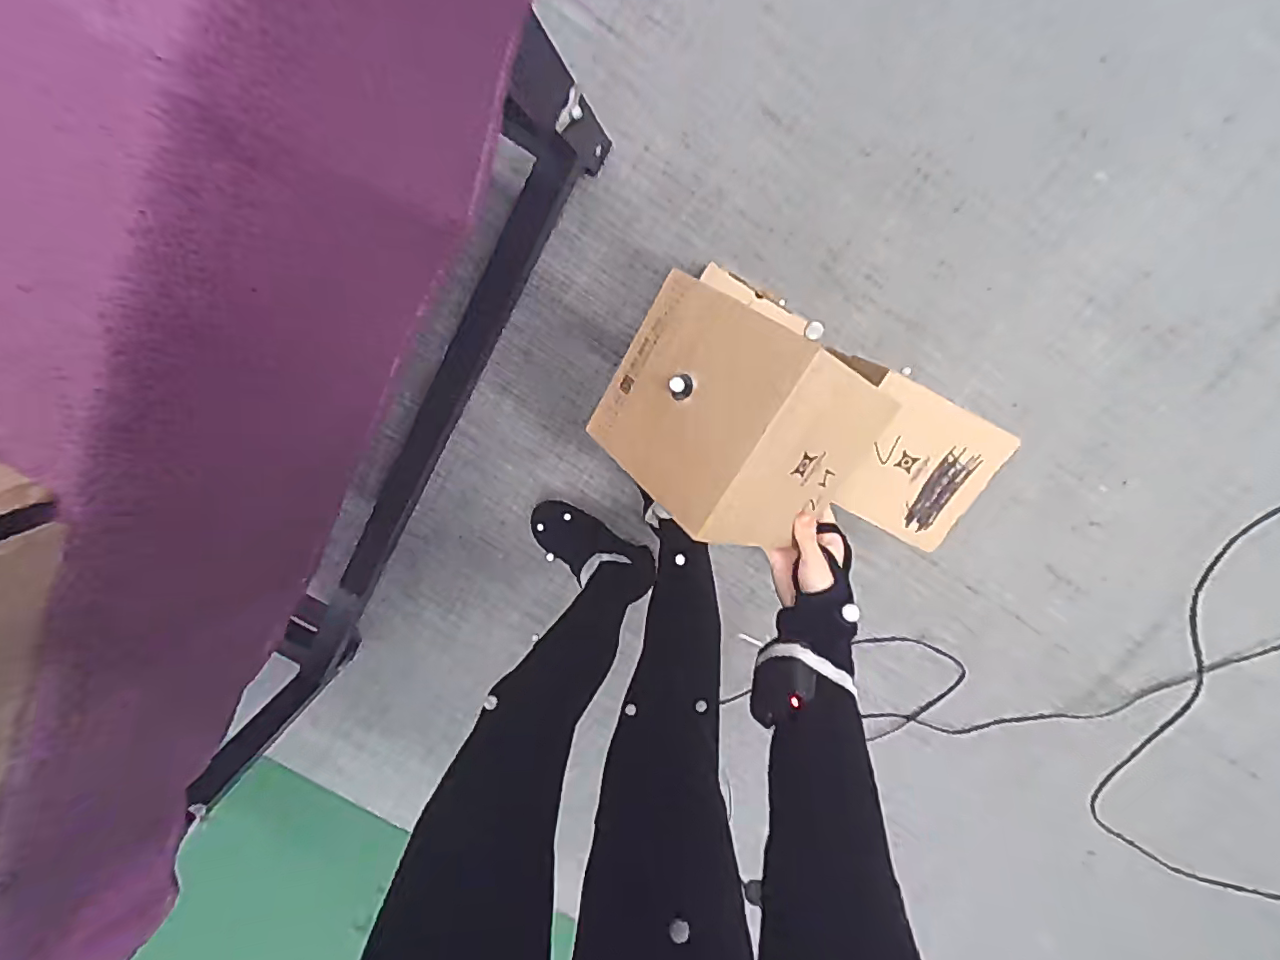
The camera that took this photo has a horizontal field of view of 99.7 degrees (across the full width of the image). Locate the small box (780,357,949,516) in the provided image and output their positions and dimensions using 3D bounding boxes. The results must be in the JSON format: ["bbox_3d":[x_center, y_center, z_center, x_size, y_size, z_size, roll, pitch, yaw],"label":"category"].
[{"bbox_3d":[0.341,-0.077,0.866,0.168,0.176,0.179,28,109,-3],"label":"small box"}]
